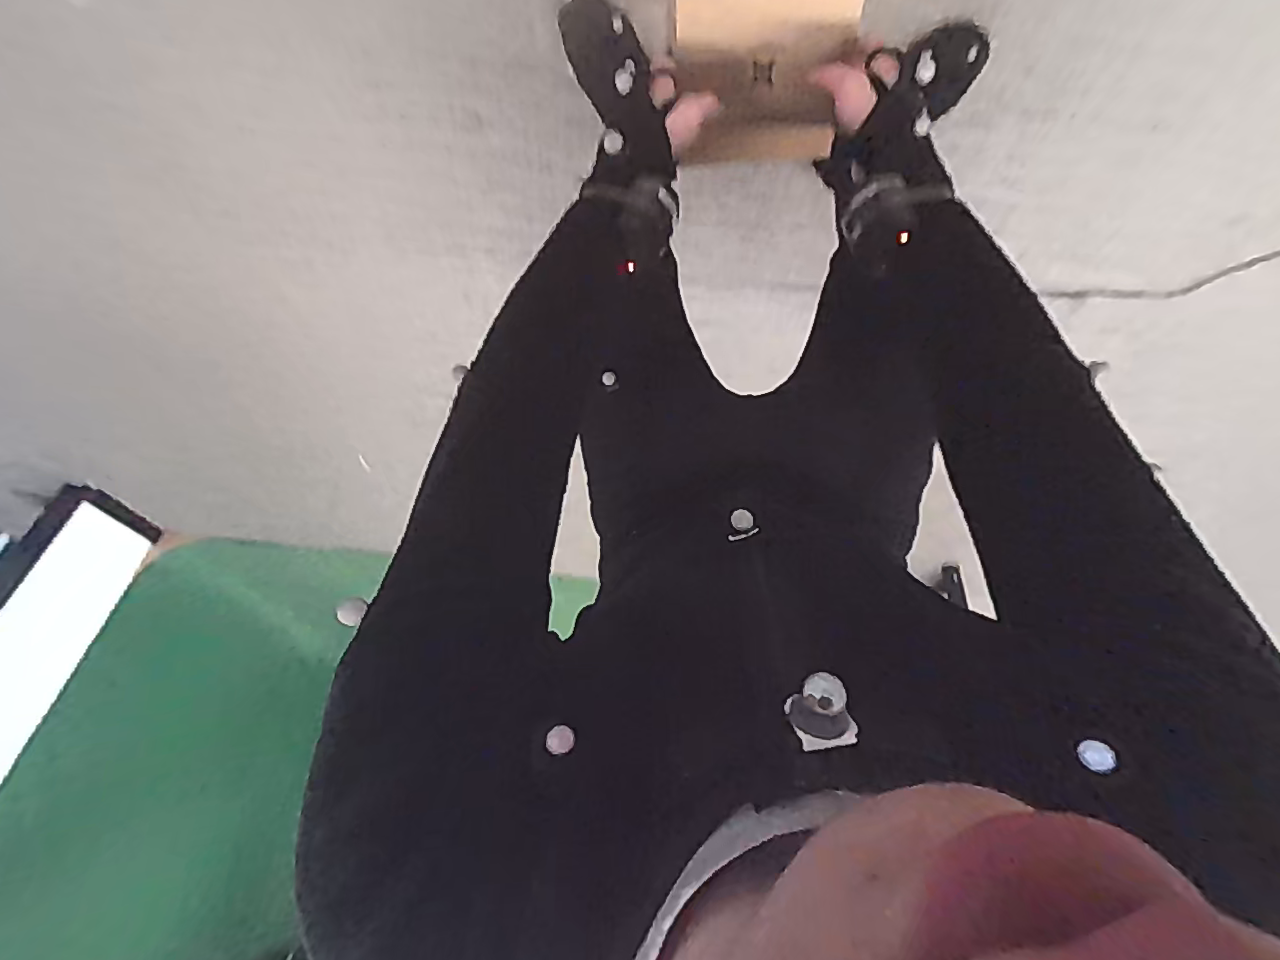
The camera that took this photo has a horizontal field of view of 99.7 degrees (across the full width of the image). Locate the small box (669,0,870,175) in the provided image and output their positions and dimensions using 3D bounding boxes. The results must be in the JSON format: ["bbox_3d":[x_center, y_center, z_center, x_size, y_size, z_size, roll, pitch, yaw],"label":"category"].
[{"bbox_3d":[0.115,-0.444,0.547,0.168,0.176,0.179,-2,148,3],"label":"small box"}]
